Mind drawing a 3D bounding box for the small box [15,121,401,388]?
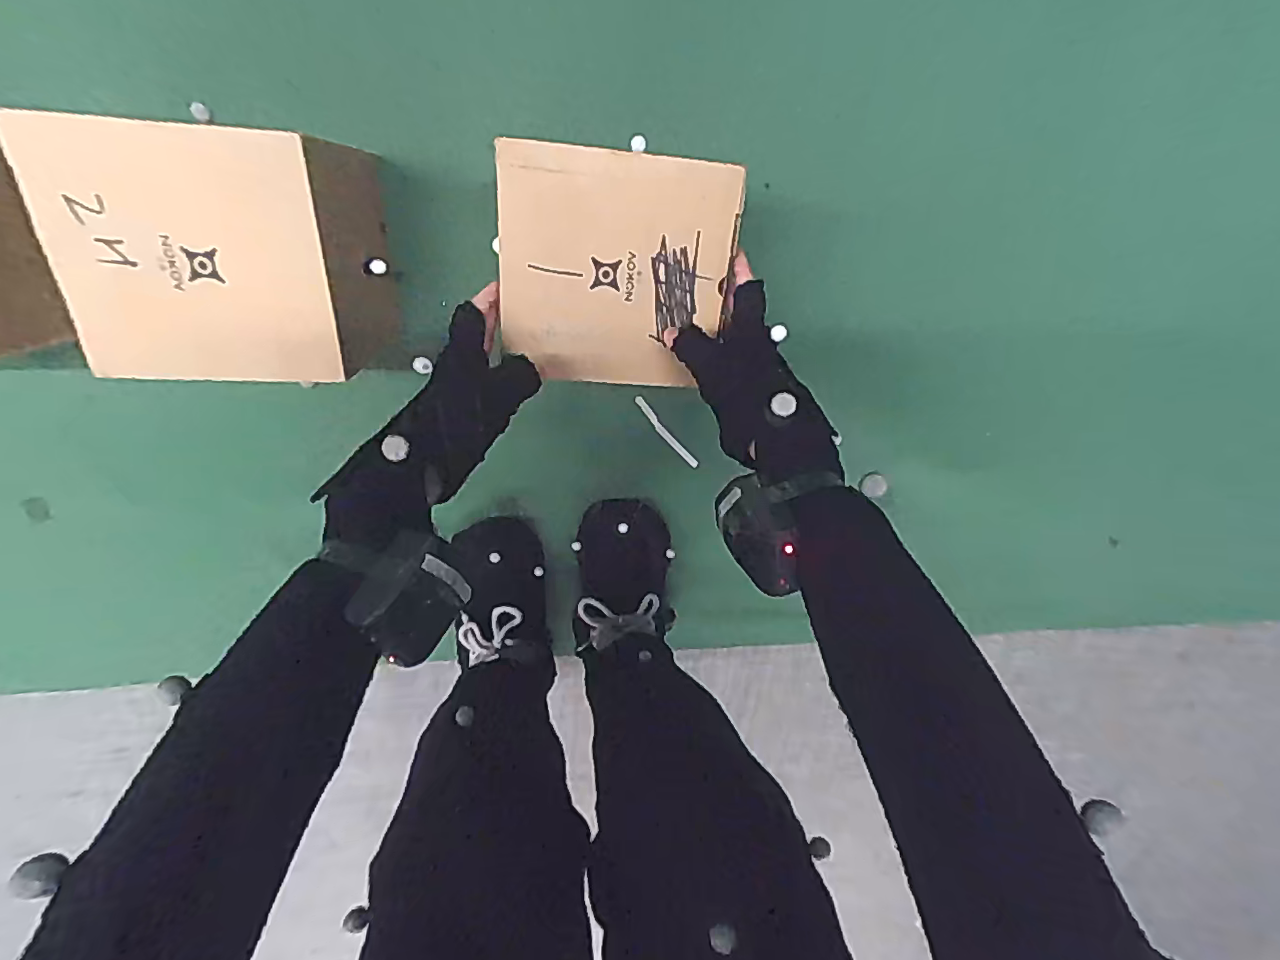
[{"bbox_3d":[-0.309,-0.181,0.445,0.179,0.176,0.168,0,117,-8],"label":"small box"}]

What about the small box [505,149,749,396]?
[{"bbox_3d":[-0.023,-0.183,0.482,0.179,0.176,0.168,3,116,-8],"label":"small box"}]
